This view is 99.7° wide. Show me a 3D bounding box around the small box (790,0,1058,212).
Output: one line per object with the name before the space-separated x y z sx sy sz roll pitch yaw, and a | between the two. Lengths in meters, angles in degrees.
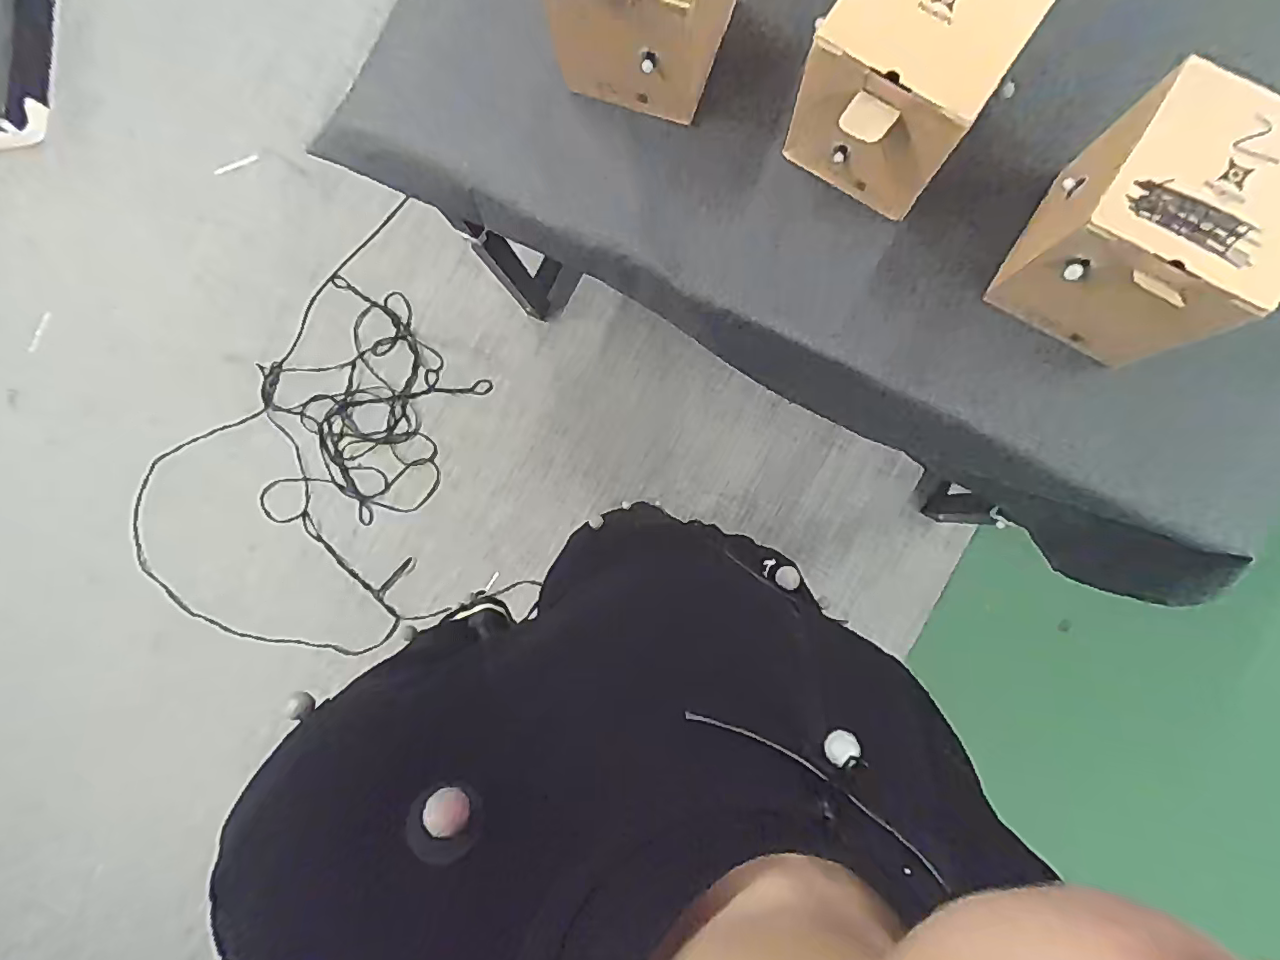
small box | 0.277 -0.424 0.555 0.168 0.176 0.179 34 90 5

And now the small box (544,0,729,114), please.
small box | 0.004 -0.546 0.582 0.168 0.176 0.179 20 88 4
